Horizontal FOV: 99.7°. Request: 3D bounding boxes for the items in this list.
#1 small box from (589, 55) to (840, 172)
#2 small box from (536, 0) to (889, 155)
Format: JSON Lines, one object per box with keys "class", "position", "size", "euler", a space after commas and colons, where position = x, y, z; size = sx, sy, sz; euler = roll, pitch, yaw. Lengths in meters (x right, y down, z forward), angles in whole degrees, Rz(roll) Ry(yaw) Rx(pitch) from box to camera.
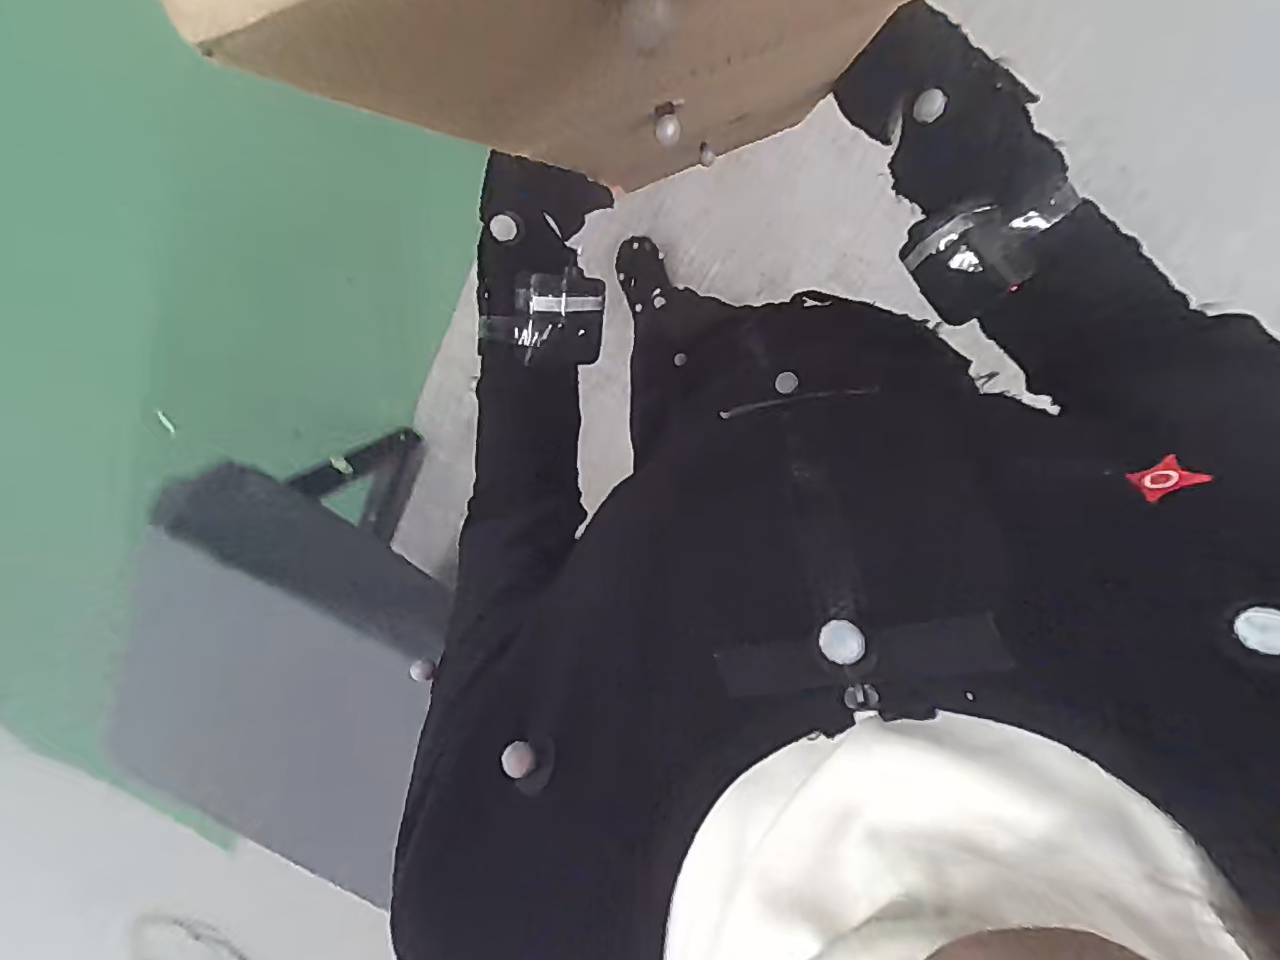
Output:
{"class": "small box", "position": [0.036, -0.354, 0.409], "size": [0.179, 0.176, 0.168], "euler": [-15, 113, 13]}
{"class": "small box", "position": [0.015, -0.288, 0.263], "size": [0.168, 0.176, 0.179], "euler": [-15, 113, 14]}
